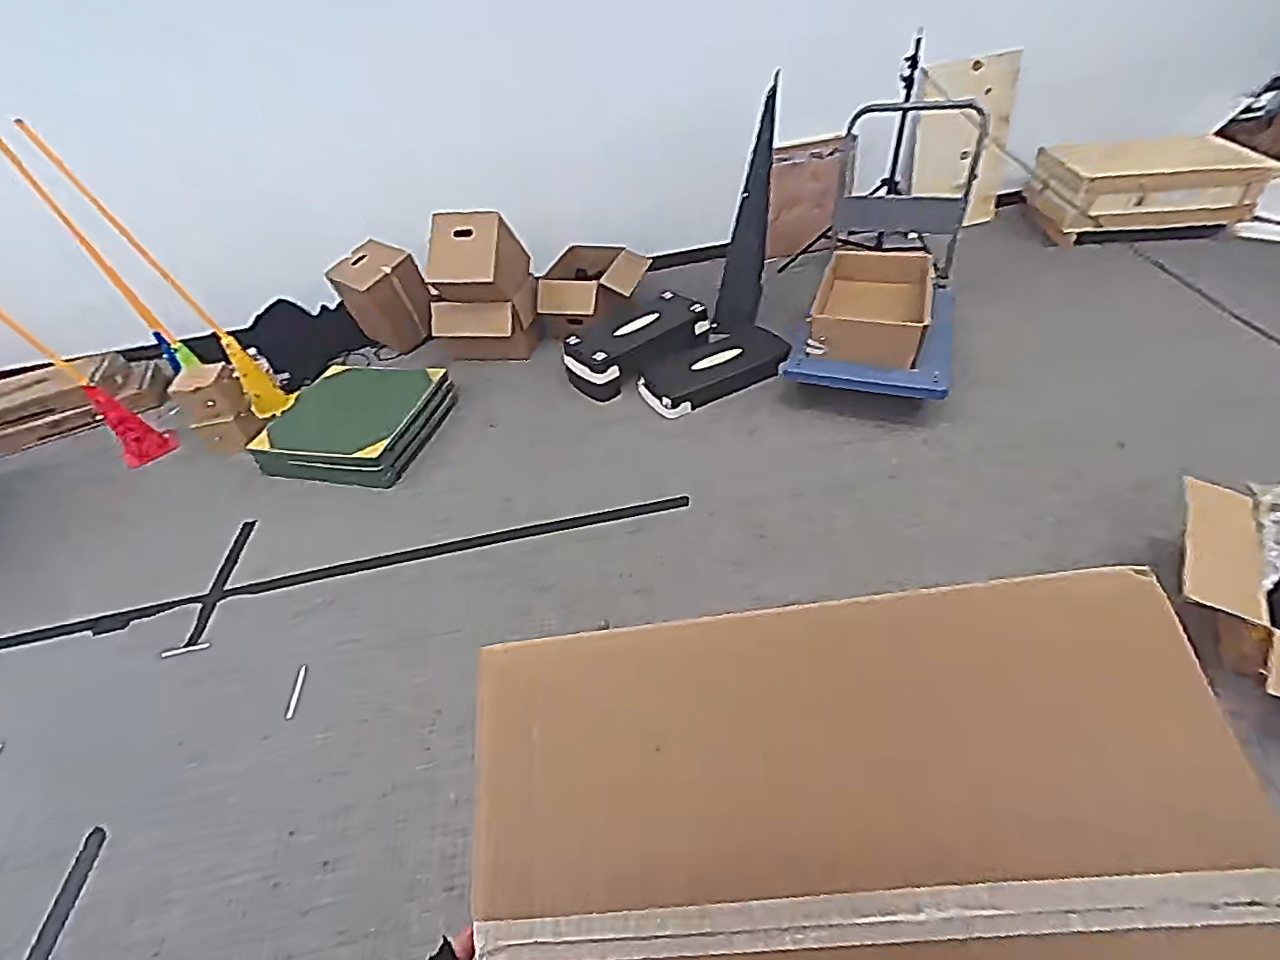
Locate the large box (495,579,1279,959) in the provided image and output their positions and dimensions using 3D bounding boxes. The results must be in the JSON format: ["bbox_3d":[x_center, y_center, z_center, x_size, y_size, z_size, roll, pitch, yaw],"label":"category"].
[{"bbox_3d":[0.135,0.288,0.423,0.408,0.320,0.320,-9,68,7],"label":"large box"}]
